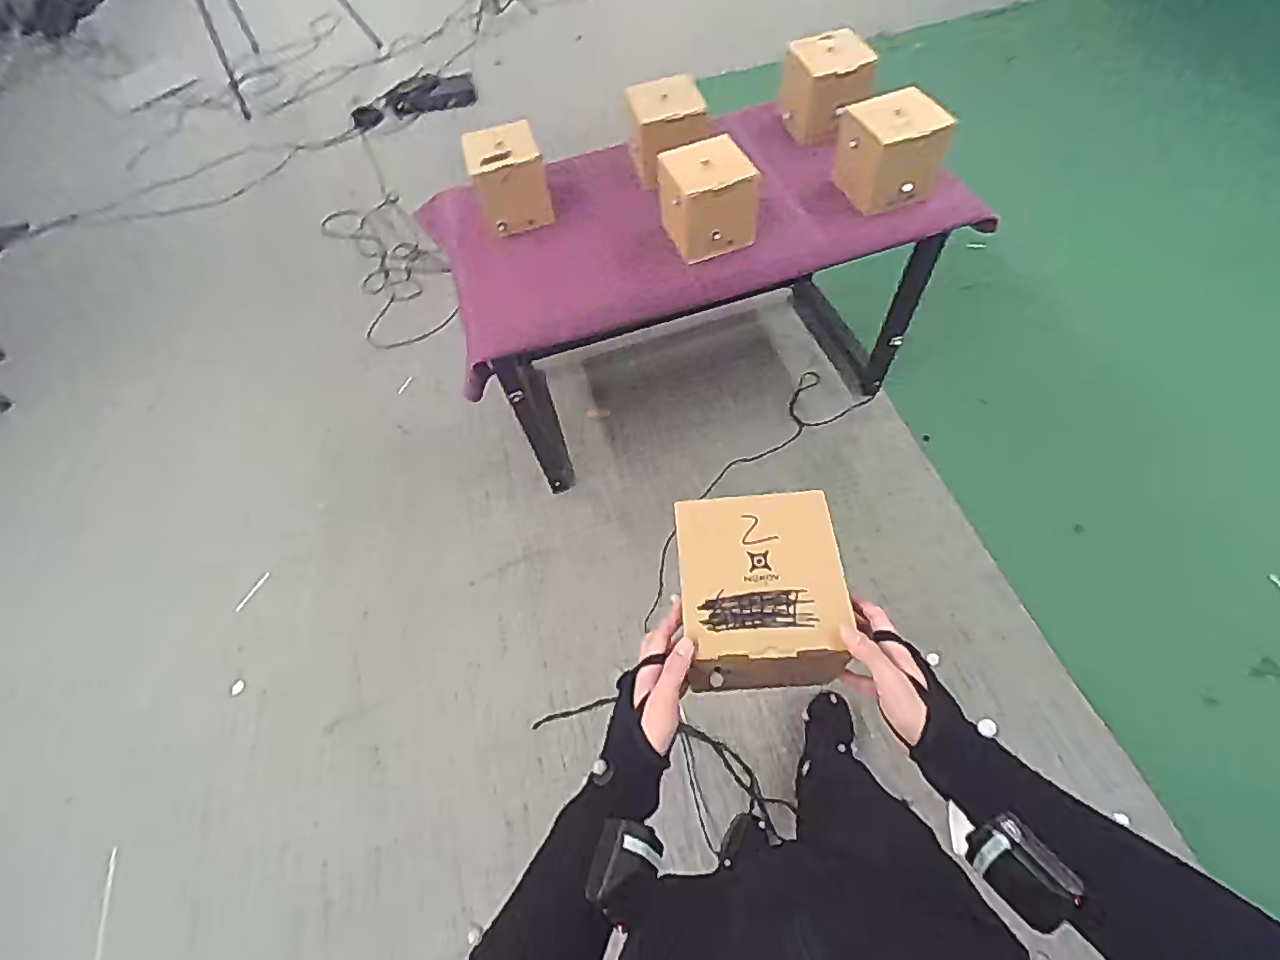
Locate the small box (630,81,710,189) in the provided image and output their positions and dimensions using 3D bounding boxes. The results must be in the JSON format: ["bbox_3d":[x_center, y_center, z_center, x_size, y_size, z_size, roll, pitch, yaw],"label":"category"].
[{"bbox_3d":[0.078,-0.866,1.373,0.168,0.176,0.179,-14,60,-3],"label":"small box"}]

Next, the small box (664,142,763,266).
[{"bbox_3d":[0.159,-0.621,1.224,0.168,0.176,0.179,-19,60,-5],"label":"small box"}]

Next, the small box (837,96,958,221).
[{"bbox_3d":[0.575,-0.732,1.239,0.168,0.176,0.179,-18,59,-2],"label":"small box"}]

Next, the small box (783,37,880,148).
[{"bbox_3d":[0.485,-0.991,1.398,0.168,0.176,0.179,-16,63,-3],"label":"small box"}]

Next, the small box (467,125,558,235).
[{"bbox_3d":[-0.309,-0.729,1.333,0.168,0.176,0.179,-16,60,-4],"label":"small box"}]
